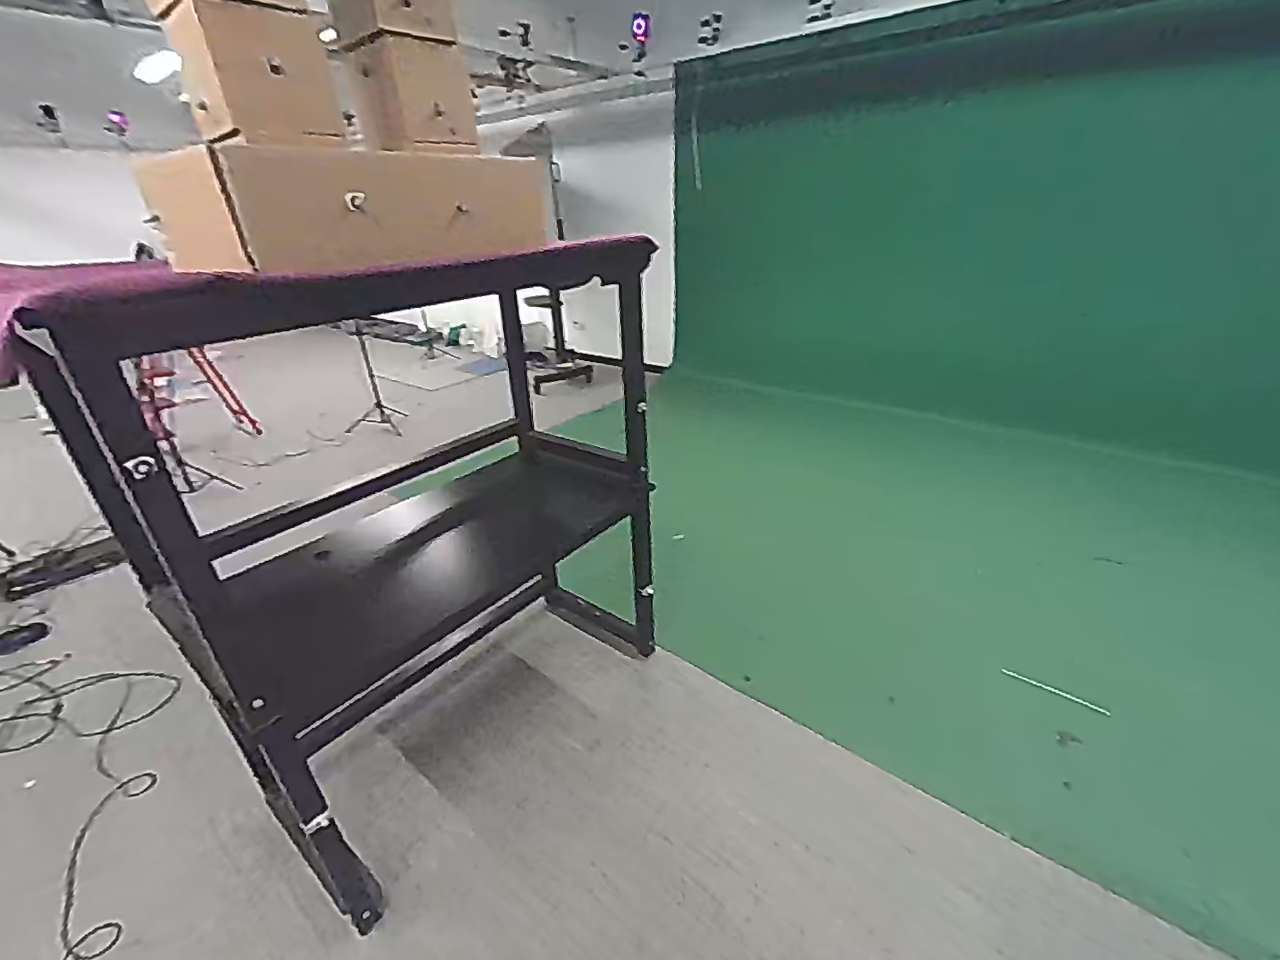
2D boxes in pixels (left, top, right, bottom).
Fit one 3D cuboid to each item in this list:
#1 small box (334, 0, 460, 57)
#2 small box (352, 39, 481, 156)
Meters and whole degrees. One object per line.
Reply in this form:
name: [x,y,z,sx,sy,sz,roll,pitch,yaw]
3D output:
small box: [-0.468,-0.907,1.023,0.179,0.176,0.168,20,35,37]
small box: [-0.453,-0.769,1.109,0.179,0.176,0.168,19,36,37]
